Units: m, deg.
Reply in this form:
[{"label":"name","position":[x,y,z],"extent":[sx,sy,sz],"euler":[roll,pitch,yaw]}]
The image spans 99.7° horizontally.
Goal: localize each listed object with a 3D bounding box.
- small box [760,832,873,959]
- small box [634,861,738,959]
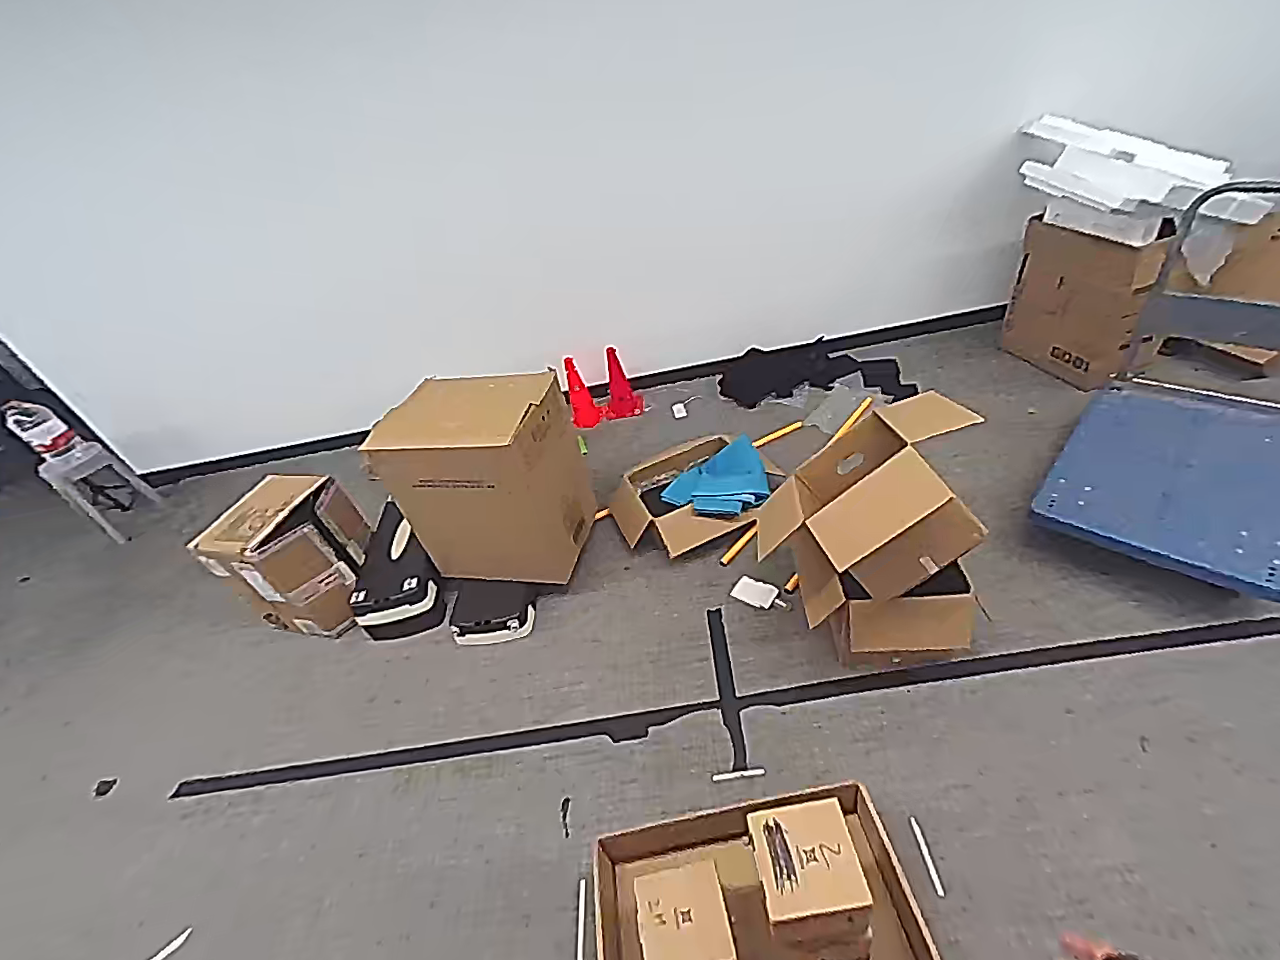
[{"label":"small box","position":[0.348,0.852,1.092],"extent":[0.168,0.176,0.179],"euler":[-14,38,2]},{"label":"small box","position":[0.095,0.909,1.095],"extent":[0.179,0.176,0.168],"euler":[-13,37,-1]}]
